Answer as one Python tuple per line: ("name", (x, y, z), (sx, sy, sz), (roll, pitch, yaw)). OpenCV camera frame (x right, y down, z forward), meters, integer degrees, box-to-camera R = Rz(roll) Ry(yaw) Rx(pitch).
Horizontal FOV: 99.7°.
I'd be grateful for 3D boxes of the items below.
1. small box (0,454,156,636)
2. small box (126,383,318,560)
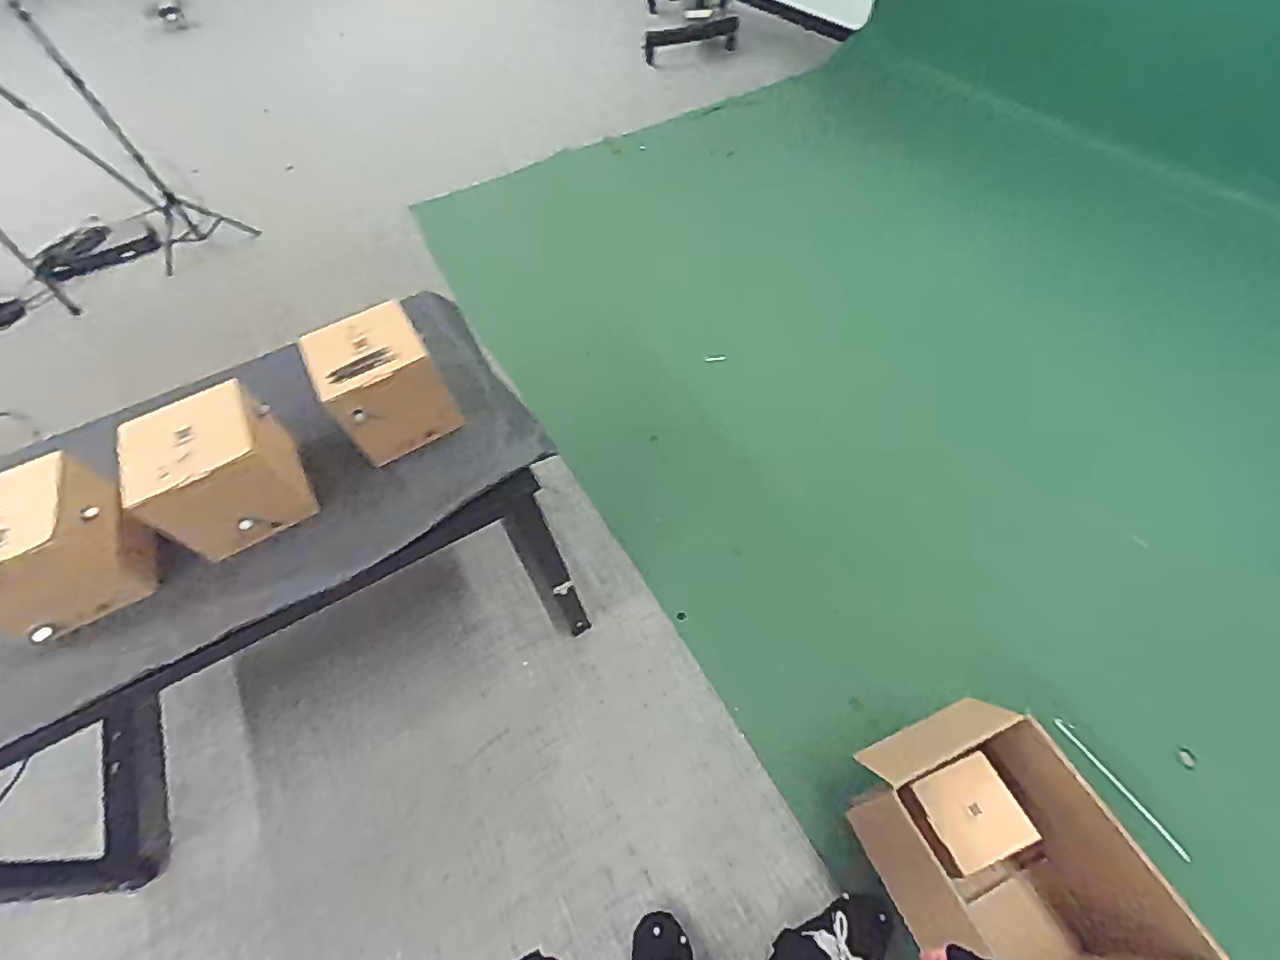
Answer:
("small box", (-0.842, 0.101, 0.773), (0.168, 0.176, 0.179), (-27, 57, -14))
("small box", (-0.635, -0.010, 0.834), (0.168, 0.176, 0.179), (-29, 58, -14))
